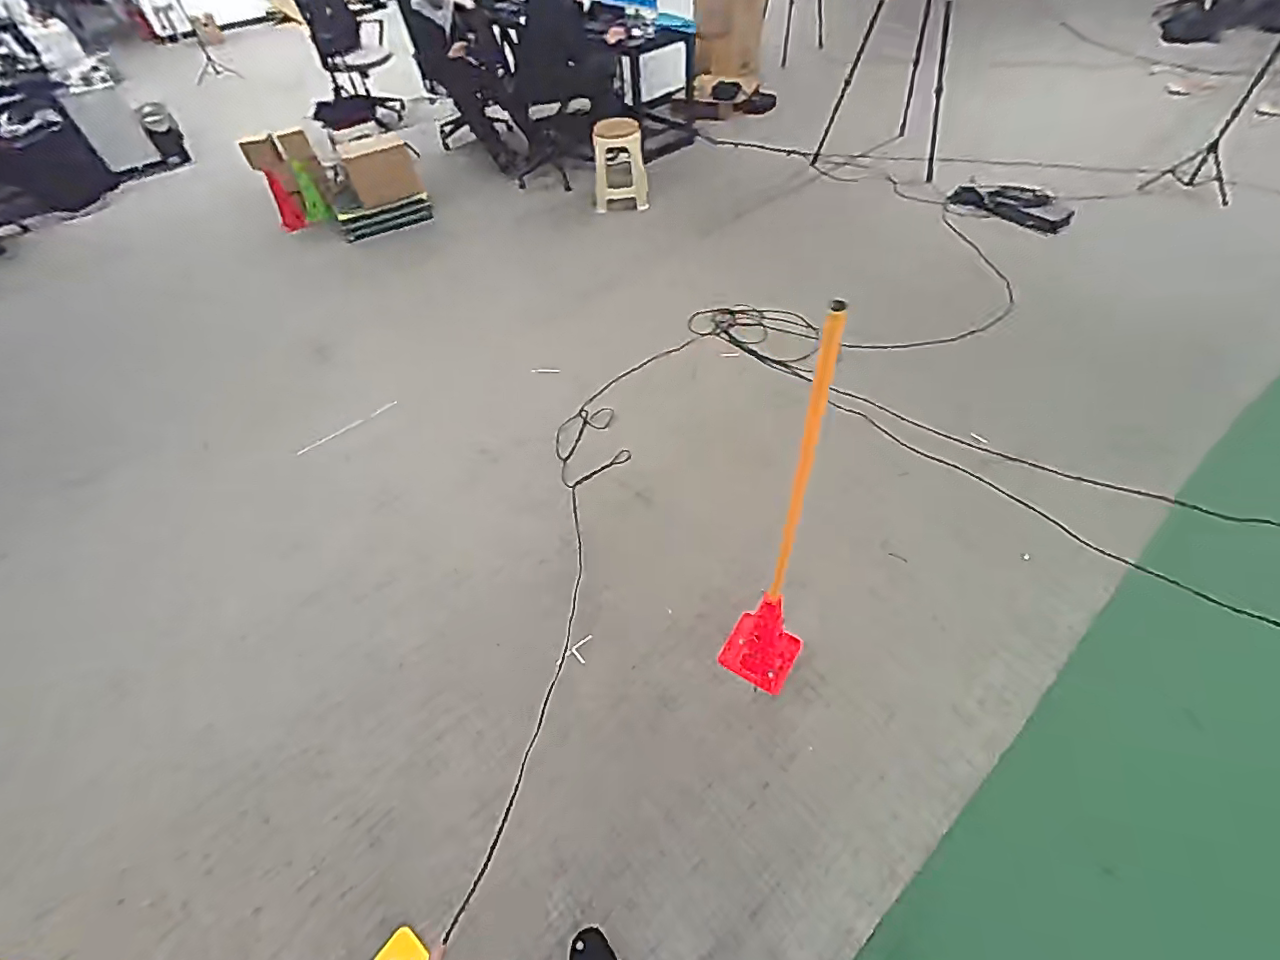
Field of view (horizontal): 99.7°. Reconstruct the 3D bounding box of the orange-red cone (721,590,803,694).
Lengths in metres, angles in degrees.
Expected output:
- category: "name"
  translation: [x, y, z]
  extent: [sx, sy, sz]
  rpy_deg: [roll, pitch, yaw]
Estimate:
- category: "orange-red cone"
  translation: [0.357, 0.406, 1.496]
  extent: [0.198, 0.360, 0.199]
  rpy_deg: [26, 56, 24]
